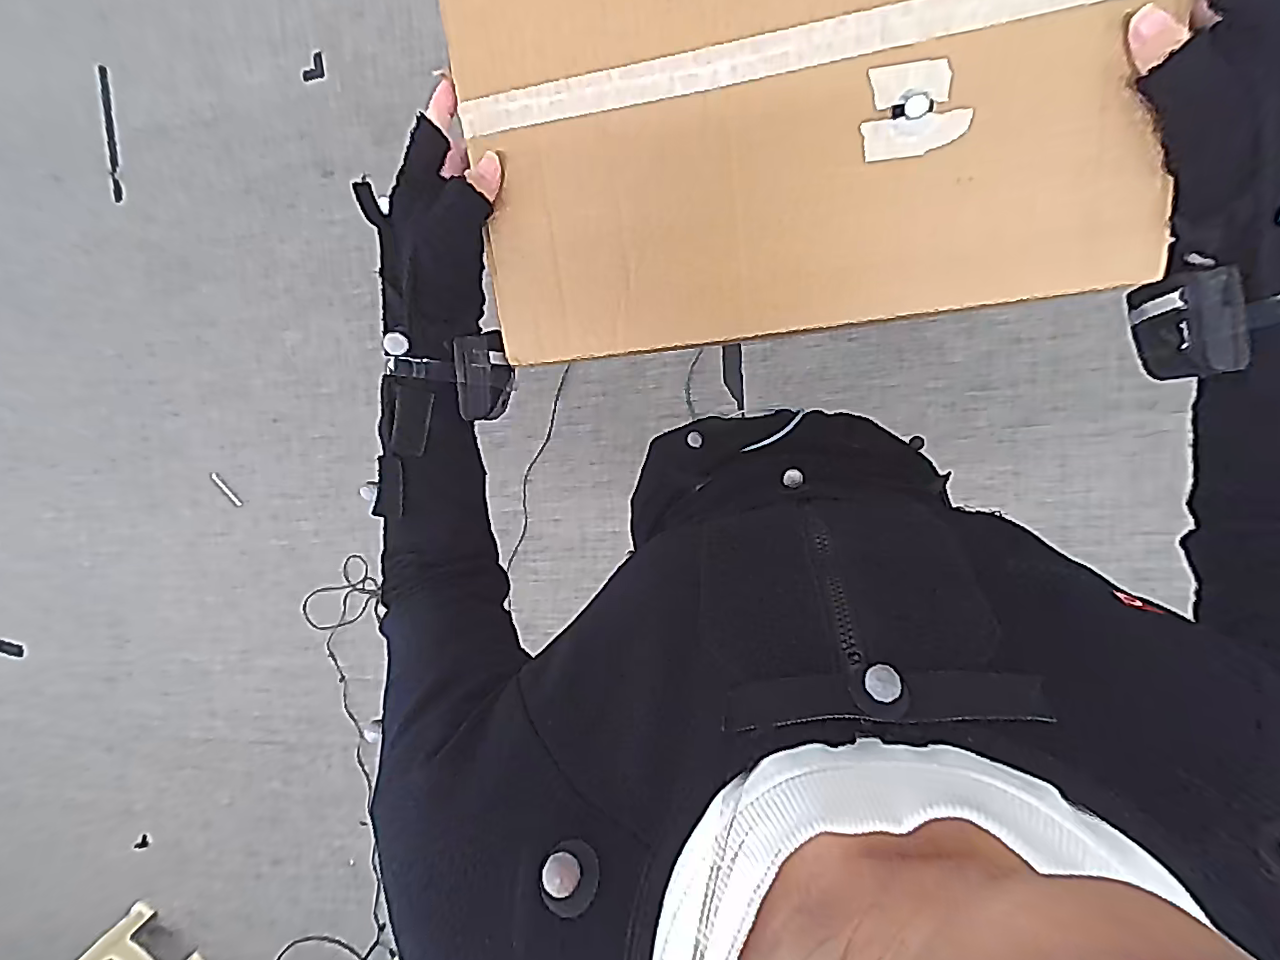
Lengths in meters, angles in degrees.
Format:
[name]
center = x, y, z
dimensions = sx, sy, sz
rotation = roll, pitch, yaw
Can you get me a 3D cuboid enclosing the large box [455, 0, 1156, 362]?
[large box]
center = 0.105, -0.289, 0.471
dimensions = 0.408, 0.320, 0.320
rotation = -6, 103, 9
